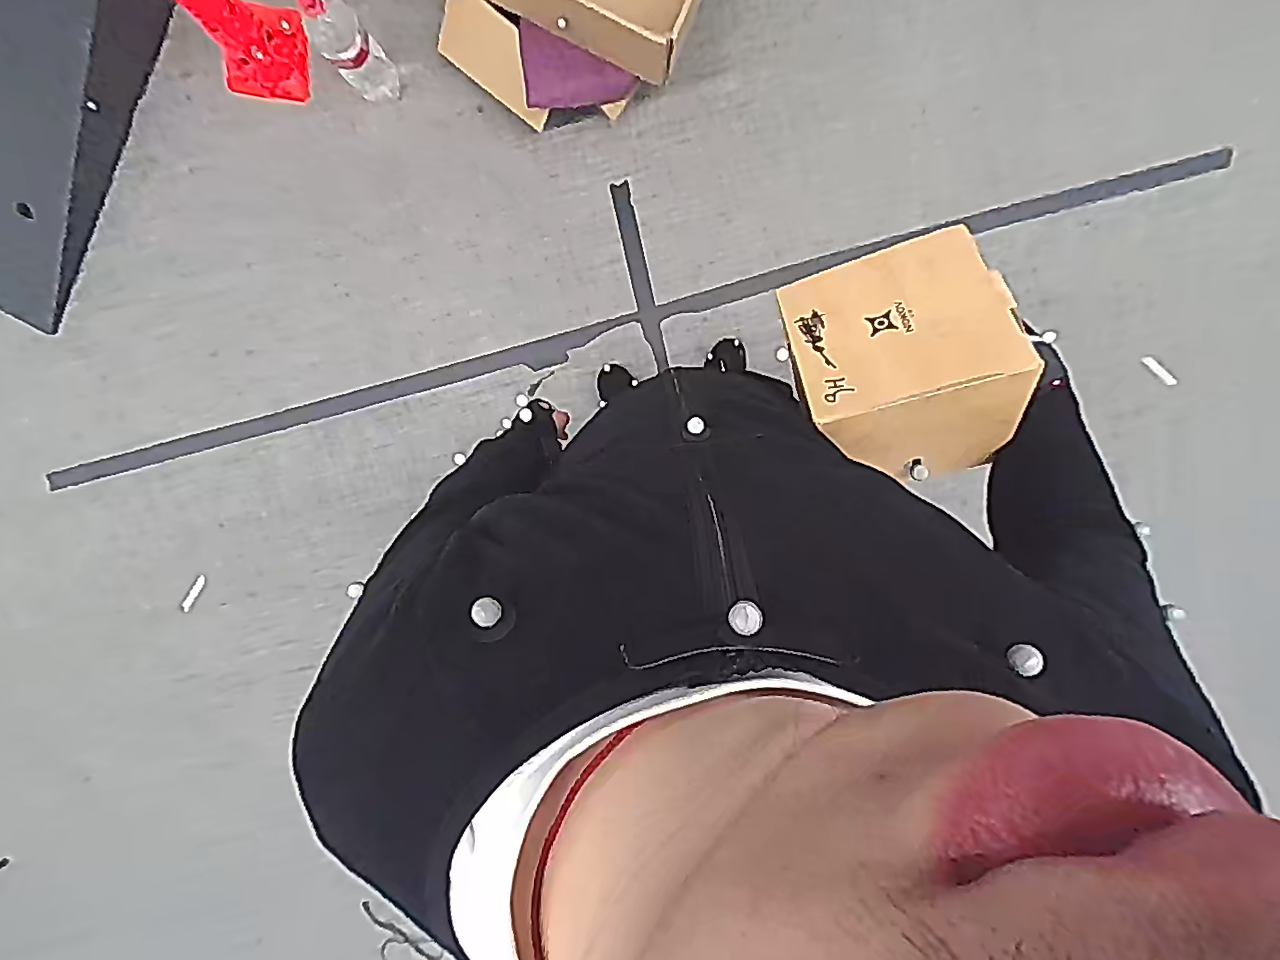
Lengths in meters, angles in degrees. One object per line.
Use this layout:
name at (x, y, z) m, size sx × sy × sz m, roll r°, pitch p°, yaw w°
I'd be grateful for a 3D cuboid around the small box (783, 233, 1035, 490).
small box at (0.258, -0.109, 0.558) m, size 0.179 × 0.176 × 0.168 m, roll -14°, pitch 60°, yaw 16°
